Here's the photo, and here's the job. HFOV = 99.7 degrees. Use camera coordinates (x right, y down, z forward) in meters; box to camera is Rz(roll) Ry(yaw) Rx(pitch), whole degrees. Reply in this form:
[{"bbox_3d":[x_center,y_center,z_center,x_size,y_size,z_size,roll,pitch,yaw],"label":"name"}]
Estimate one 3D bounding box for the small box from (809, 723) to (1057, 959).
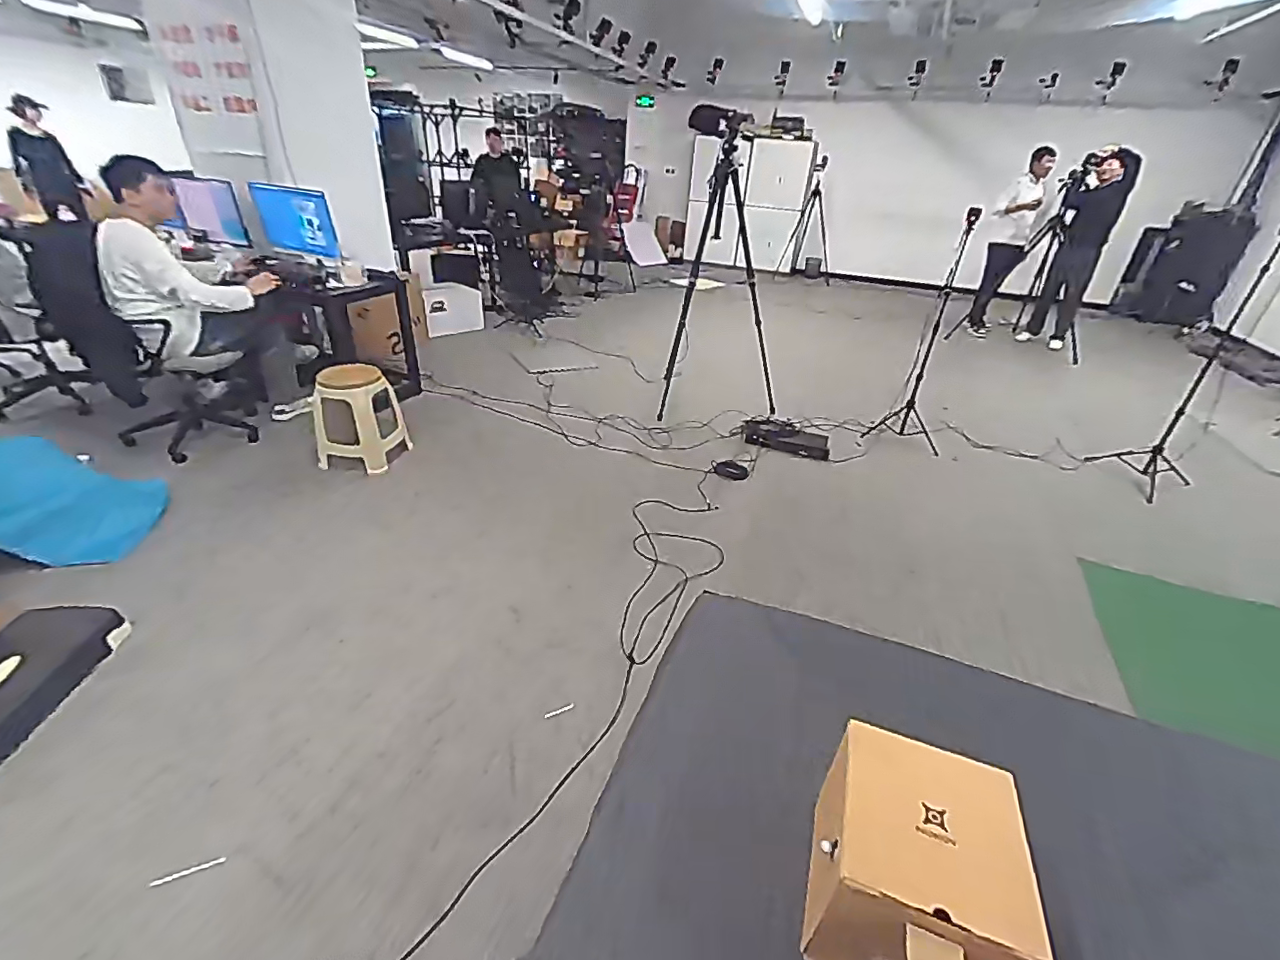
[{"bbox_3d":[0.282,0.402,0.561,0.168,0.176,0.179,14,32,16],"label":"small box"}]
